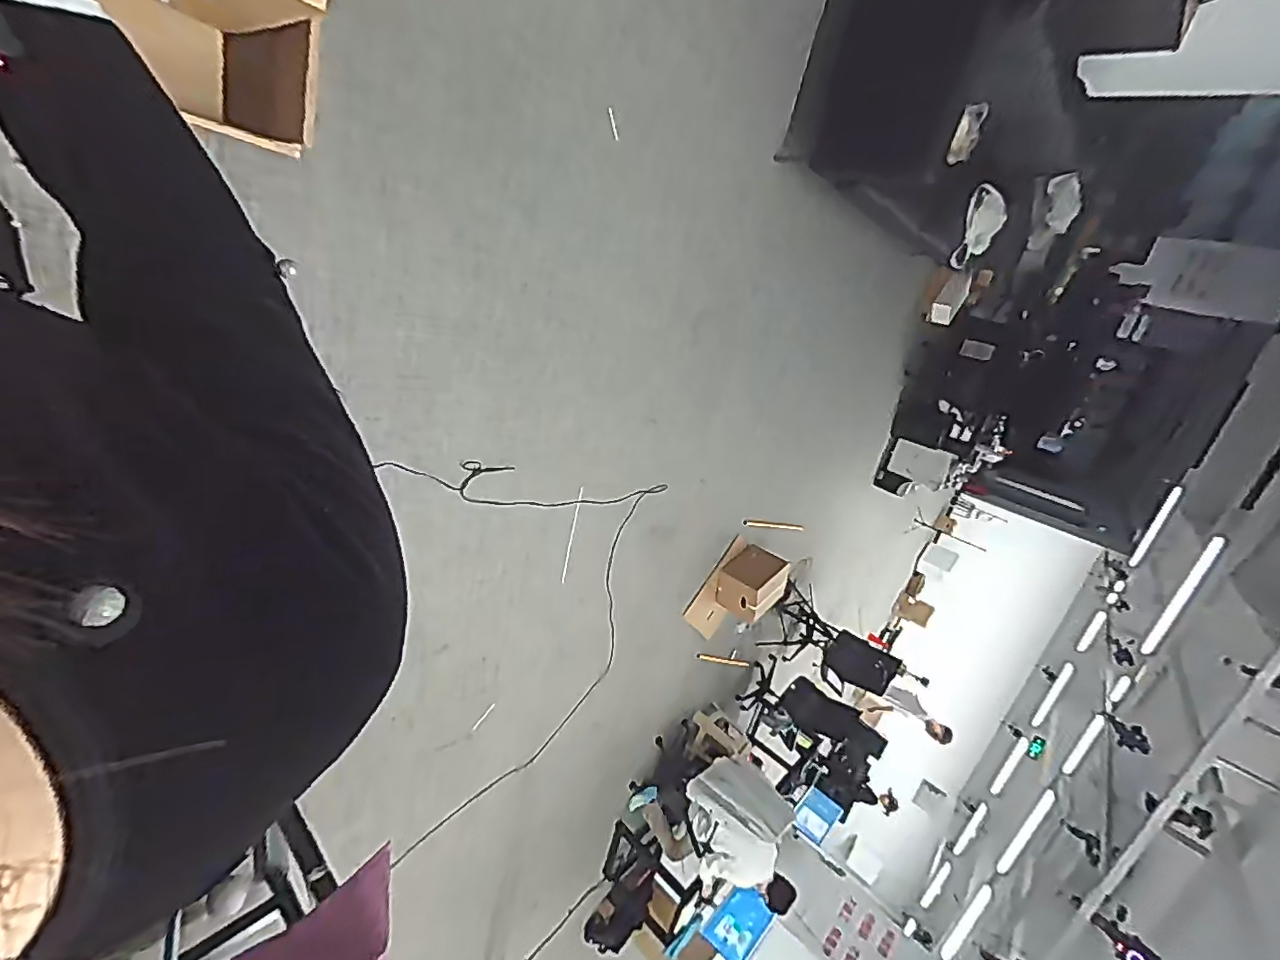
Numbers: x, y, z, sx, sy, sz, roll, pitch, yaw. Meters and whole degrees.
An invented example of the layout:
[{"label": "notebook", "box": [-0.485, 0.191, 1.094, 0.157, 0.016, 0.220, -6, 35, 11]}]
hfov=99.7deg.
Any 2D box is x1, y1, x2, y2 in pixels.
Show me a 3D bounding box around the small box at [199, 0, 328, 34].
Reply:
[{"label": "small box", "box": [-0.391, -0.543, 0.483, 0.168, 0.176, 0.179, -6, 117, -50]}]
